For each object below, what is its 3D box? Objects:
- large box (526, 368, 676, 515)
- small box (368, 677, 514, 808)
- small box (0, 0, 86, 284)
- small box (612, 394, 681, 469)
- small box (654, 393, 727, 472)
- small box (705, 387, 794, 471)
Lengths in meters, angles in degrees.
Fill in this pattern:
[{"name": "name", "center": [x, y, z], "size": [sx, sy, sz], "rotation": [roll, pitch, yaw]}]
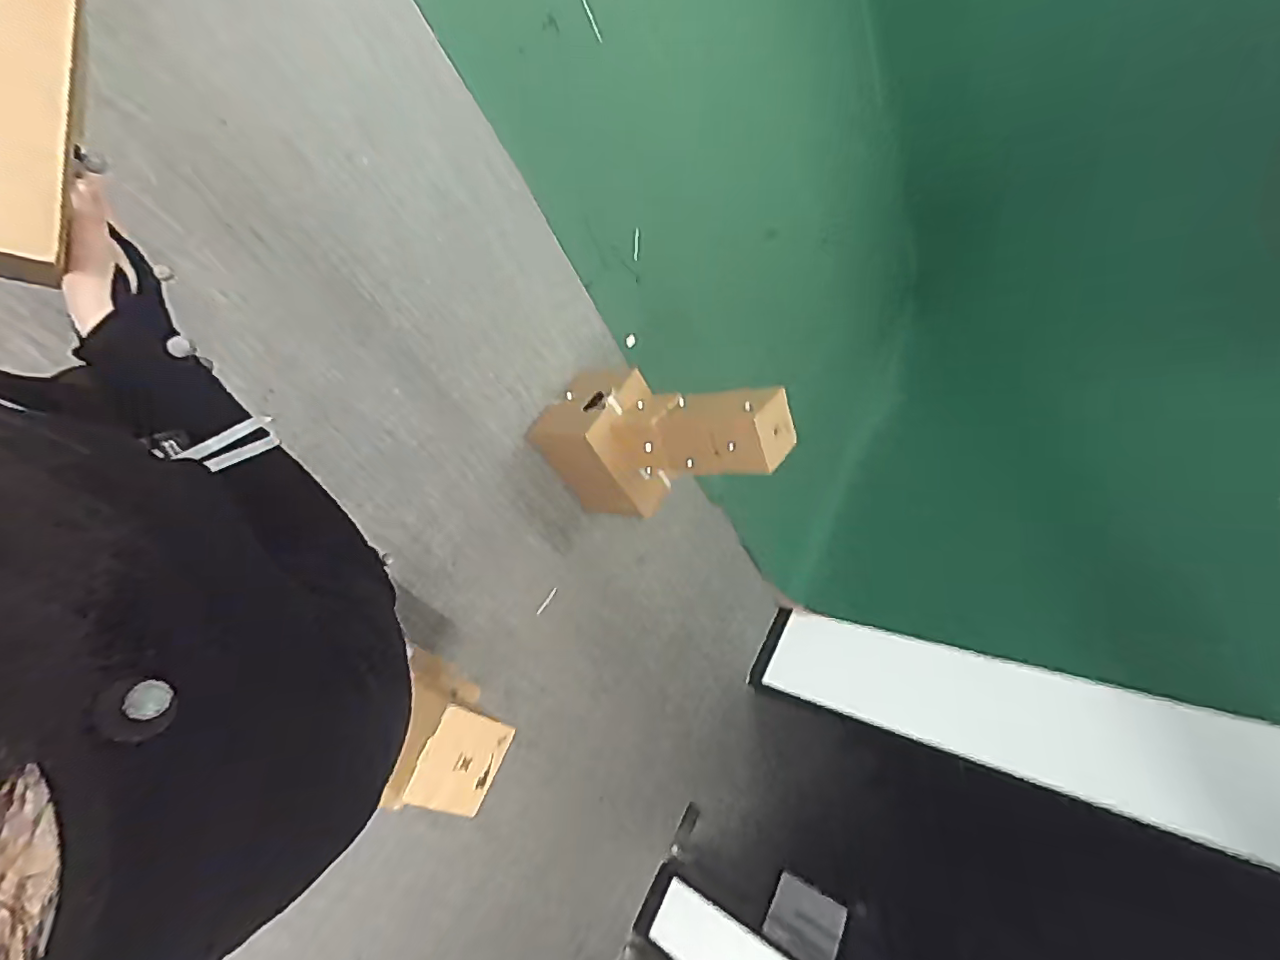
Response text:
[{"name": "large box", "center": [-0.112, -0.133, 1.880], "size": [0.320, 0.320, 0.408], "rotation": [-56, 131, -27]}, {"name": "small box", "center": [-0.390, 0.504, 1.057], "size": [0.179, 0.176, 0.168], "rotation": [46, 61, -38]}, {"name": "small box", "center": [-0.434, -0.225, 0.304], "size": [0.168, 0.176, 0.179], "rotation": [3, 98, -45]}, {"name": "small box", "center": [0.044, -0.155, 1.688], "size": [0.168, 0.176, 0.179], "rotation": [-46, 125, -34]}, {"name": "small box", "center": [0.170, -0.141, 1.585], "size": [0.168, 0.176, 0.179], "rotation": [-43, 122, -37]}, {"name": "small box", "center": [0.293, -0.139, 1.475], "size": [0.179, 0.176, 0.168], "rotation": [-42, 123, -37]}]
